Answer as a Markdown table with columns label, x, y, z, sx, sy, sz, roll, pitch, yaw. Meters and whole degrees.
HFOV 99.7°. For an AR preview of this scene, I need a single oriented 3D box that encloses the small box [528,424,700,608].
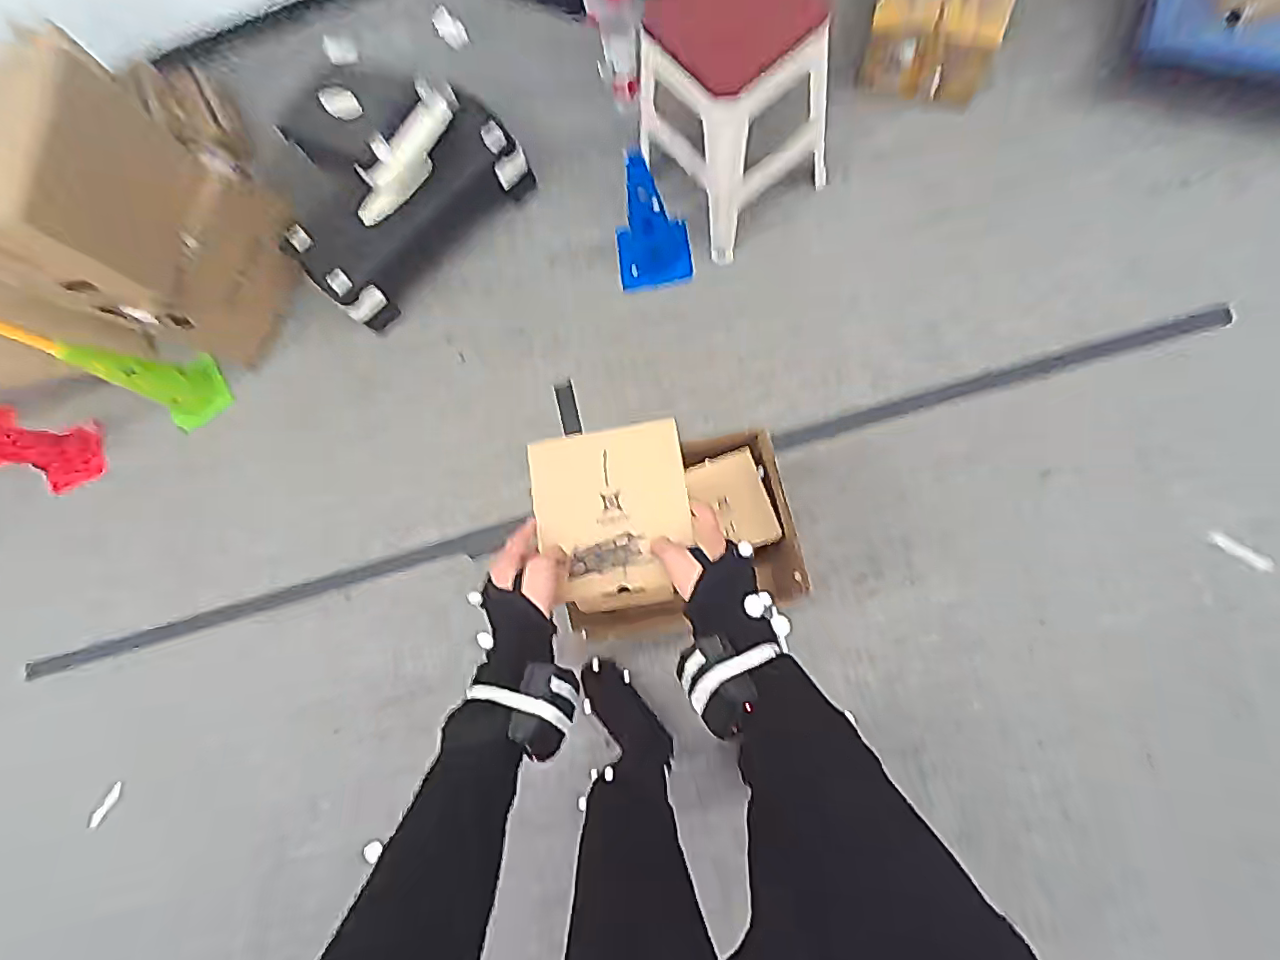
| label | x | y | z | sx | sy | sz | roll | pitch | yaw |
| --- | --- | --- | --- | --- | --- | --- | --- | --- | --- |
| small box | -0.021 | 0.047 | 0.645 | 0.168 | 0.176 | 0.179 | -10 | 80 | 5 |
